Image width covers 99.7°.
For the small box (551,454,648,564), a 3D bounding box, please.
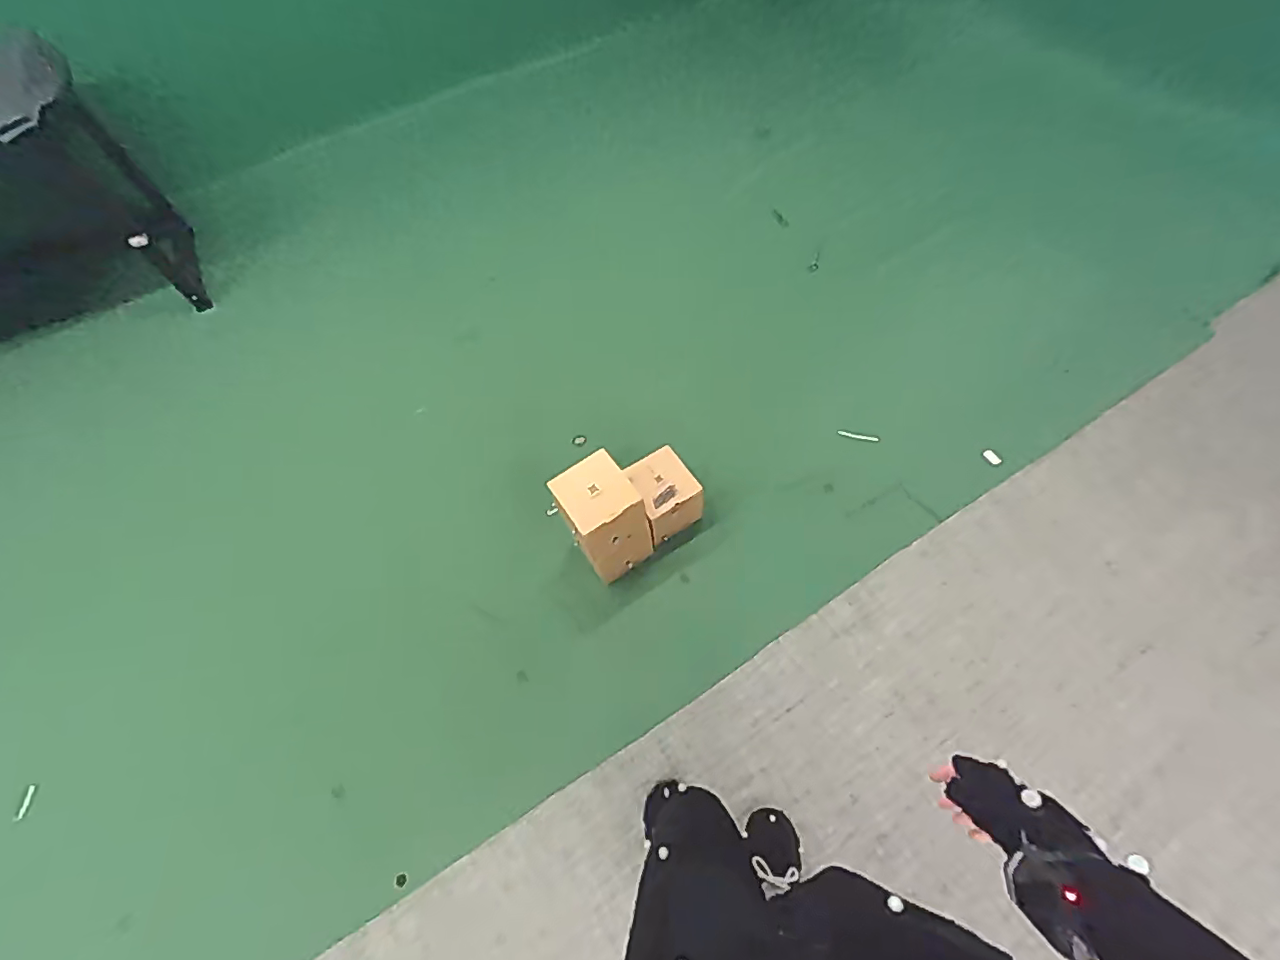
[{"bbox_3d":[-0.095,0.076,1.332,0.168,0.176,0.179,-33,63,-13],"label":"small box"}]
